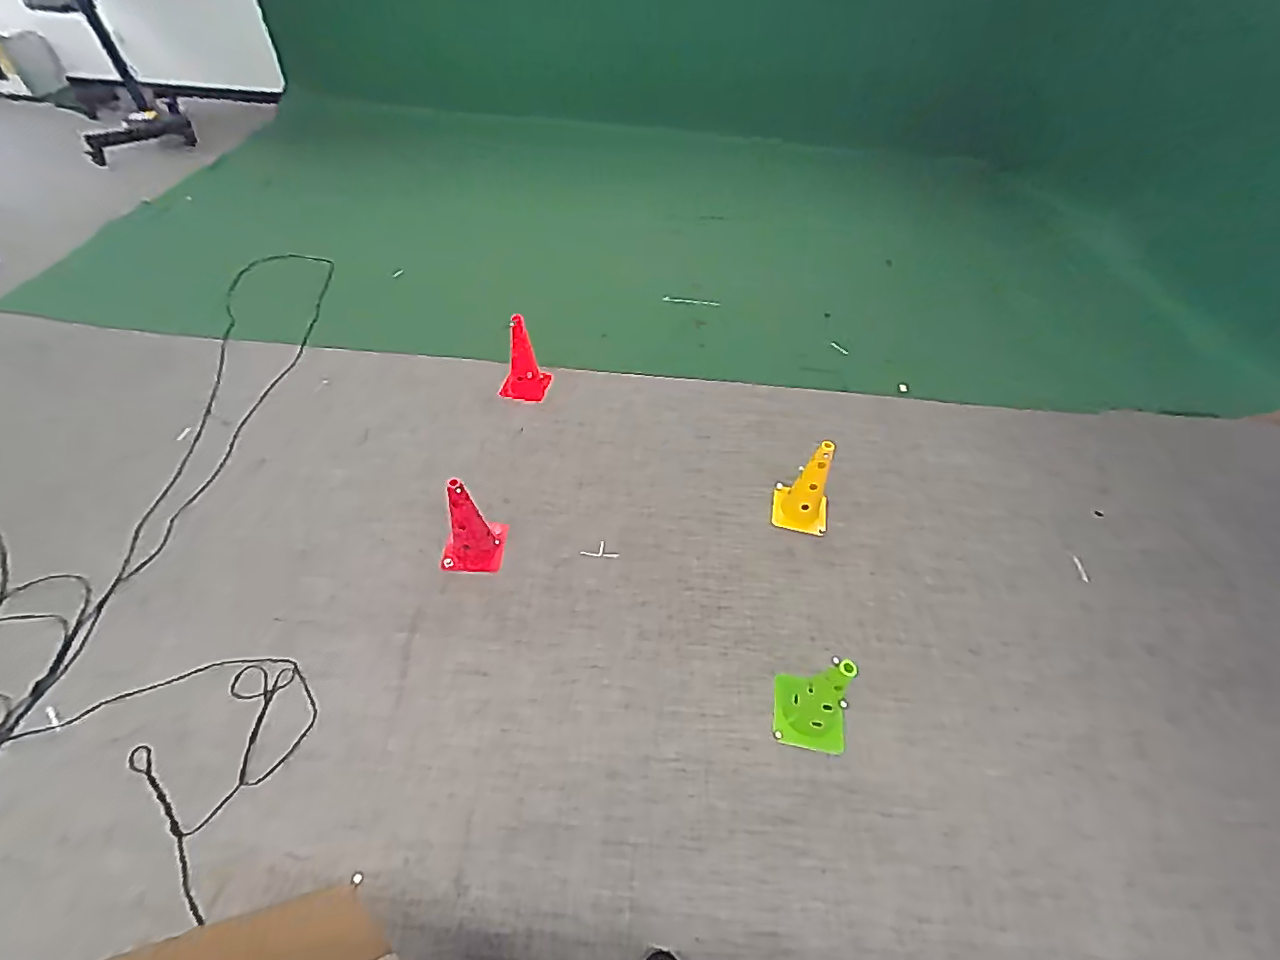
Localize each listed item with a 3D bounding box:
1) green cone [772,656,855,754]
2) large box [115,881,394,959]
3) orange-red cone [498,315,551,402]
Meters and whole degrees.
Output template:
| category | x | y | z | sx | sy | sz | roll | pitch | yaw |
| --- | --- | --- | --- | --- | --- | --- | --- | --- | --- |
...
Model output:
| category | x | y | z | sx | sy | sz | roll | pitch | yaw |
| --- | --- | --- | --- | --- | --- | --- | --- | --- | --- |
| green cone | 0.498 | 0.570 | 1.454 | 0.200 | 0.368 | 0.202 | 10 | 49 | 4 |
| large box | -0.535 | 0.794 | 0.653 | 0.320 | 0.408 | 0.320 | 35 | 79 | 27 |
| orange-red cone | -0.511 | -0.537 | 2.304 | 0.199 | 0.360 | 0.198 | 10 | 49 | 6 |
